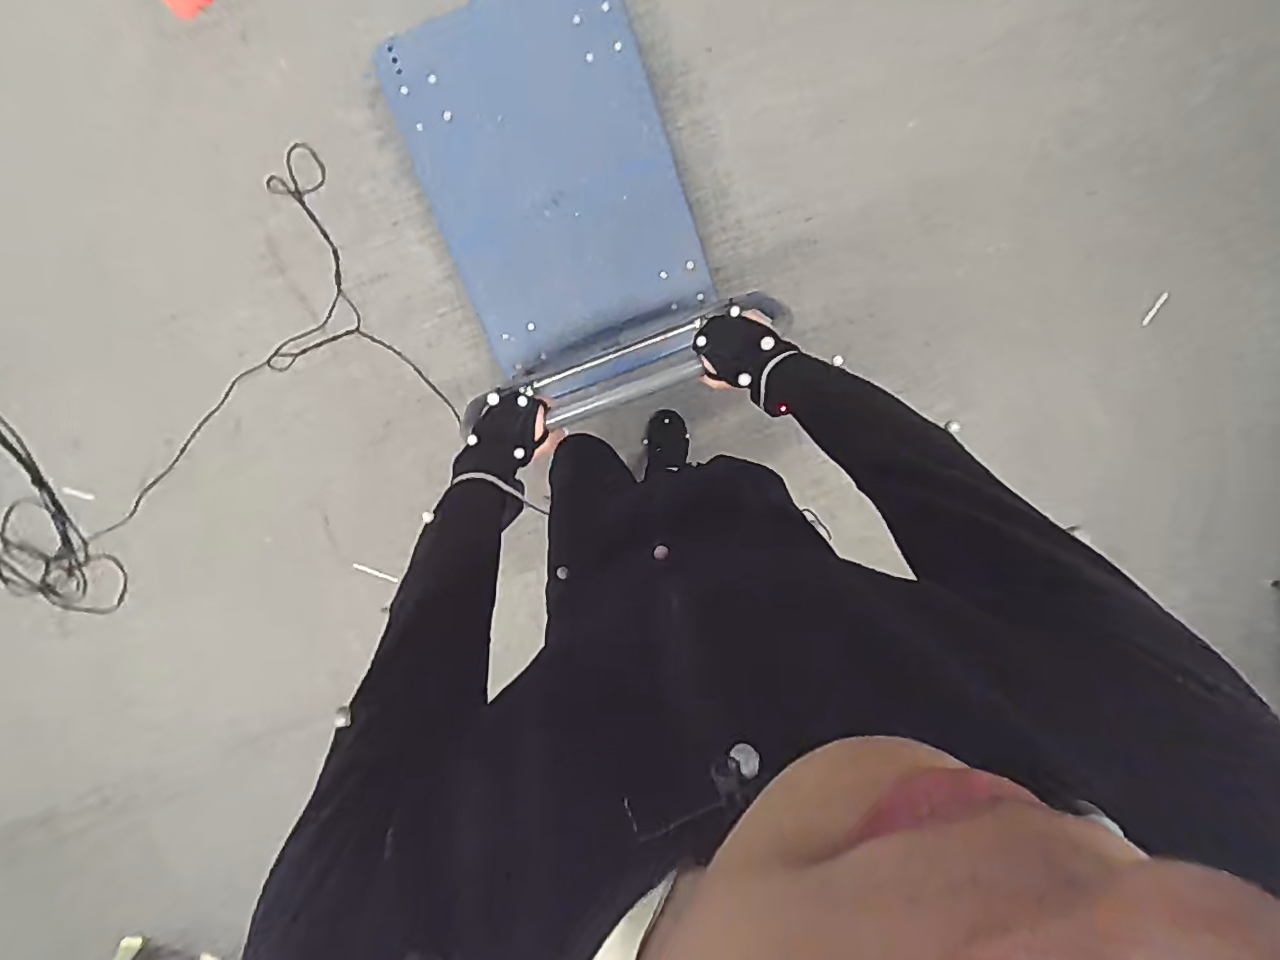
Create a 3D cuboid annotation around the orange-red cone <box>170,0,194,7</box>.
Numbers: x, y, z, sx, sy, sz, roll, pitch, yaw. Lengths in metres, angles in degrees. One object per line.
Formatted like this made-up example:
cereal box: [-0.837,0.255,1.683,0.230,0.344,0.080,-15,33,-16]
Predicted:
orange-red cone: [-1.107,-1.241,1.130,0.199,0.360,0.198,-35,100,8]
